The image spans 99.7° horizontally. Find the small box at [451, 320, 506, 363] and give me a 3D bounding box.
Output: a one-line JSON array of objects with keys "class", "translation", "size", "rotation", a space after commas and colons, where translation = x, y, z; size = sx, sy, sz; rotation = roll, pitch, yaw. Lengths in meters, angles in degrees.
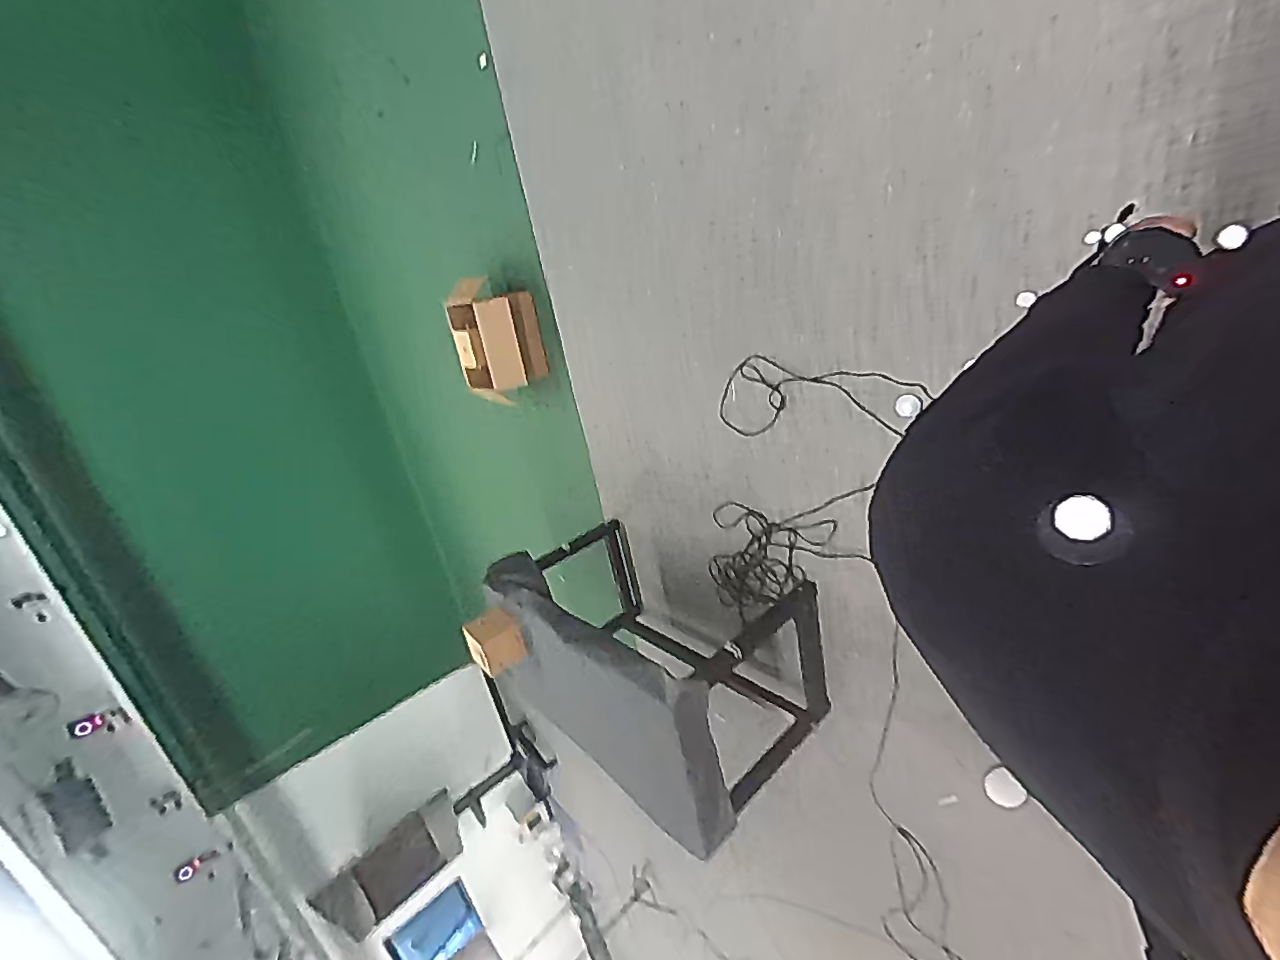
[{"class": "small box", "translation": [-0.754, -0.651, 2.533], "size": [0.179, 0.176, 0.168], "rotation": [18, 125, 47]}]
